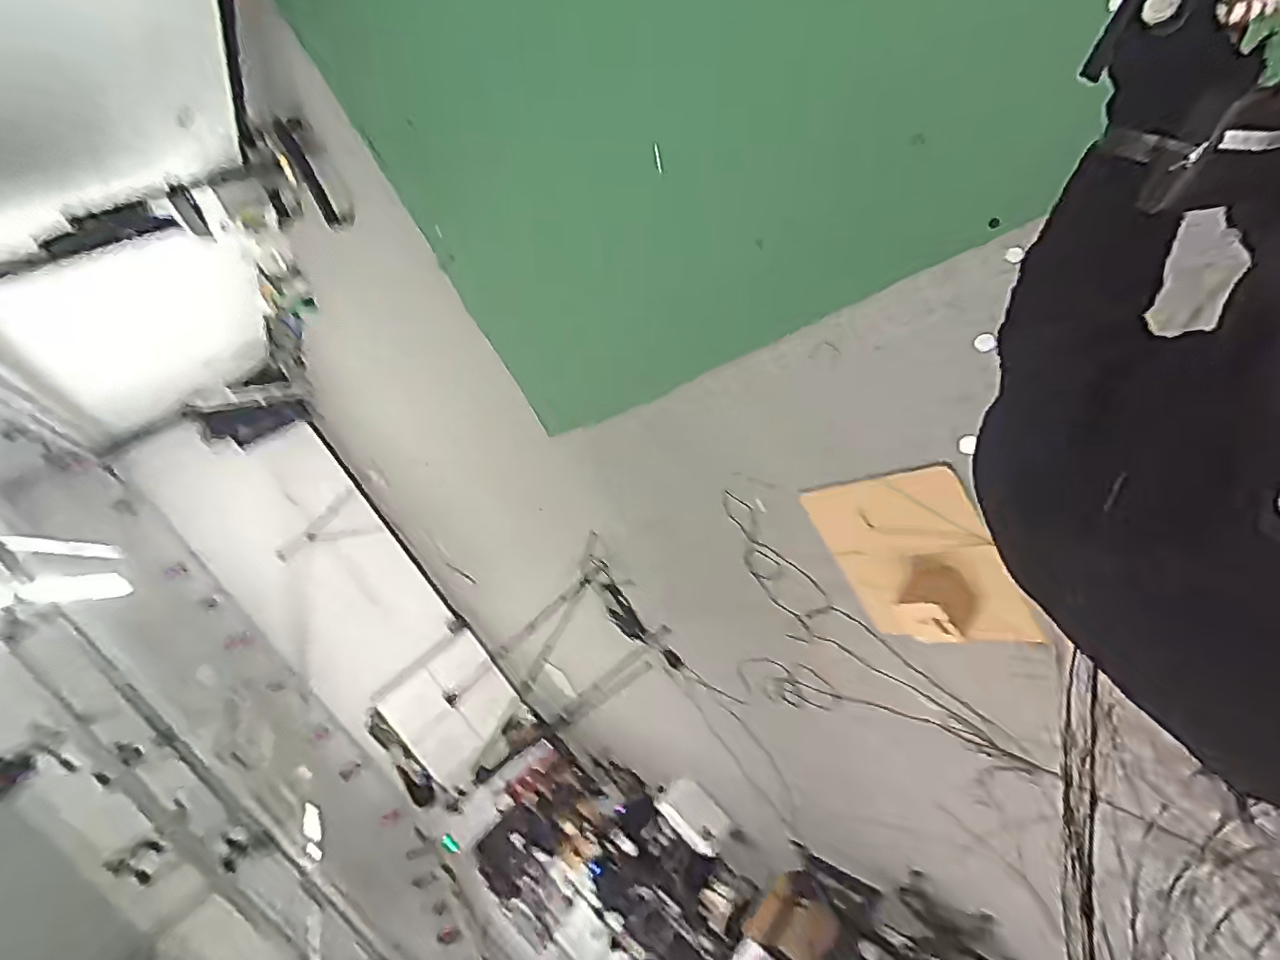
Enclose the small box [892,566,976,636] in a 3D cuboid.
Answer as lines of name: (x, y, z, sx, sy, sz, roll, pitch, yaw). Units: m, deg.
small box: (1.005, 0.409, 1.836, 0.168, 0.176, 0.179, 54, 150, -5)
